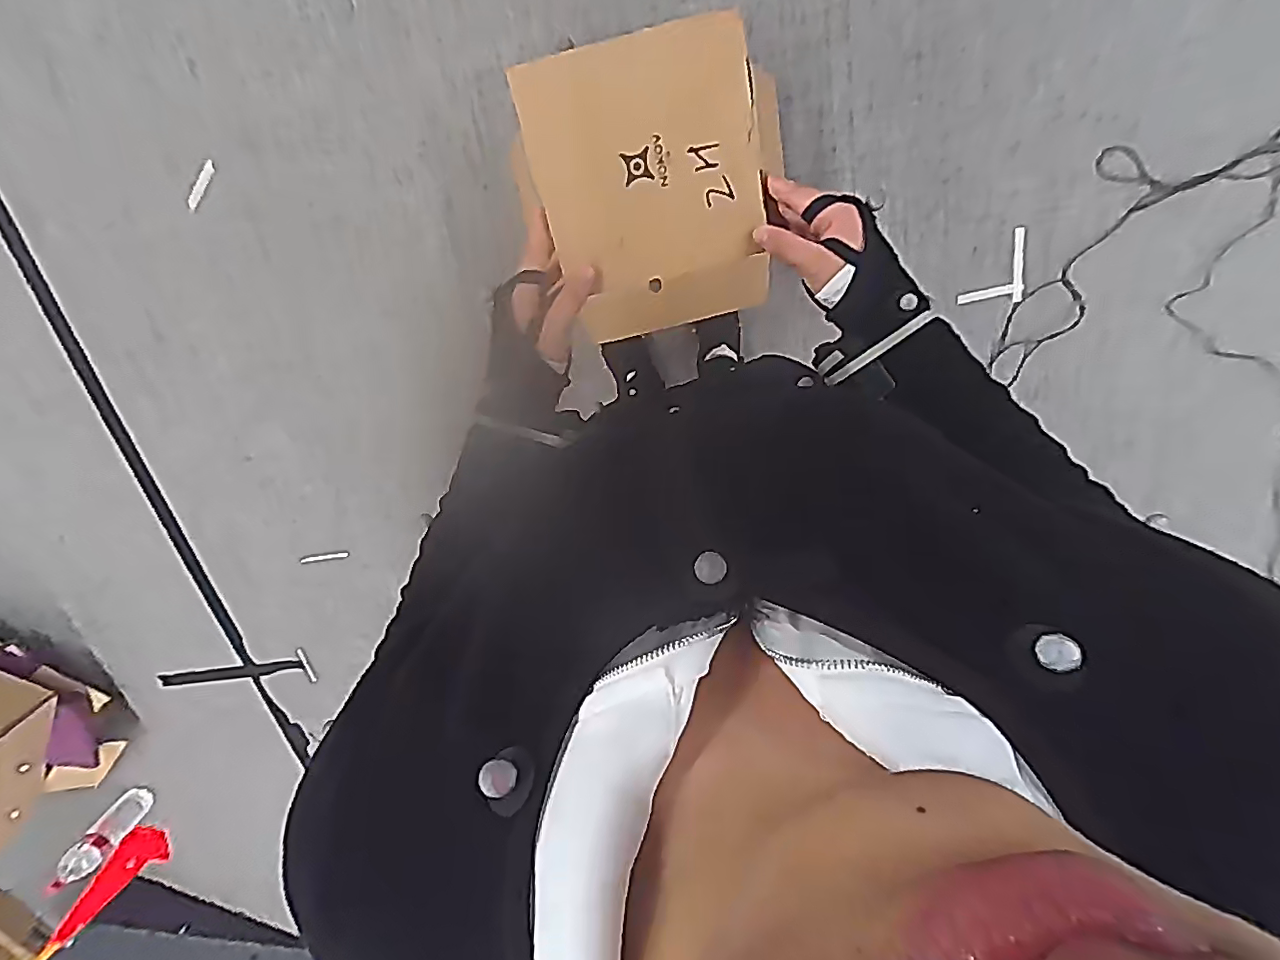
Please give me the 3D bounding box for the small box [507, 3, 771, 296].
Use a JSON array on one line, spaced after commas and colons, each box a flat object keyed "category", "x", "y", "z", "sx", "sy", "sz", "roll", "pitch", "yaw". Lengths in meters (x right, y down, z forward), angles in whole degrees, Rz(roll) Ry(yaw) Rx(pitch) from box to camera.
[{"category": "small box", "x": 0.002, "y": -0.274, "z": 0.481, "sx": 0.179, "sy": 0.176, "sz": 0.168, "roll": -13, "pitch": 117, "yaw": 2}]
